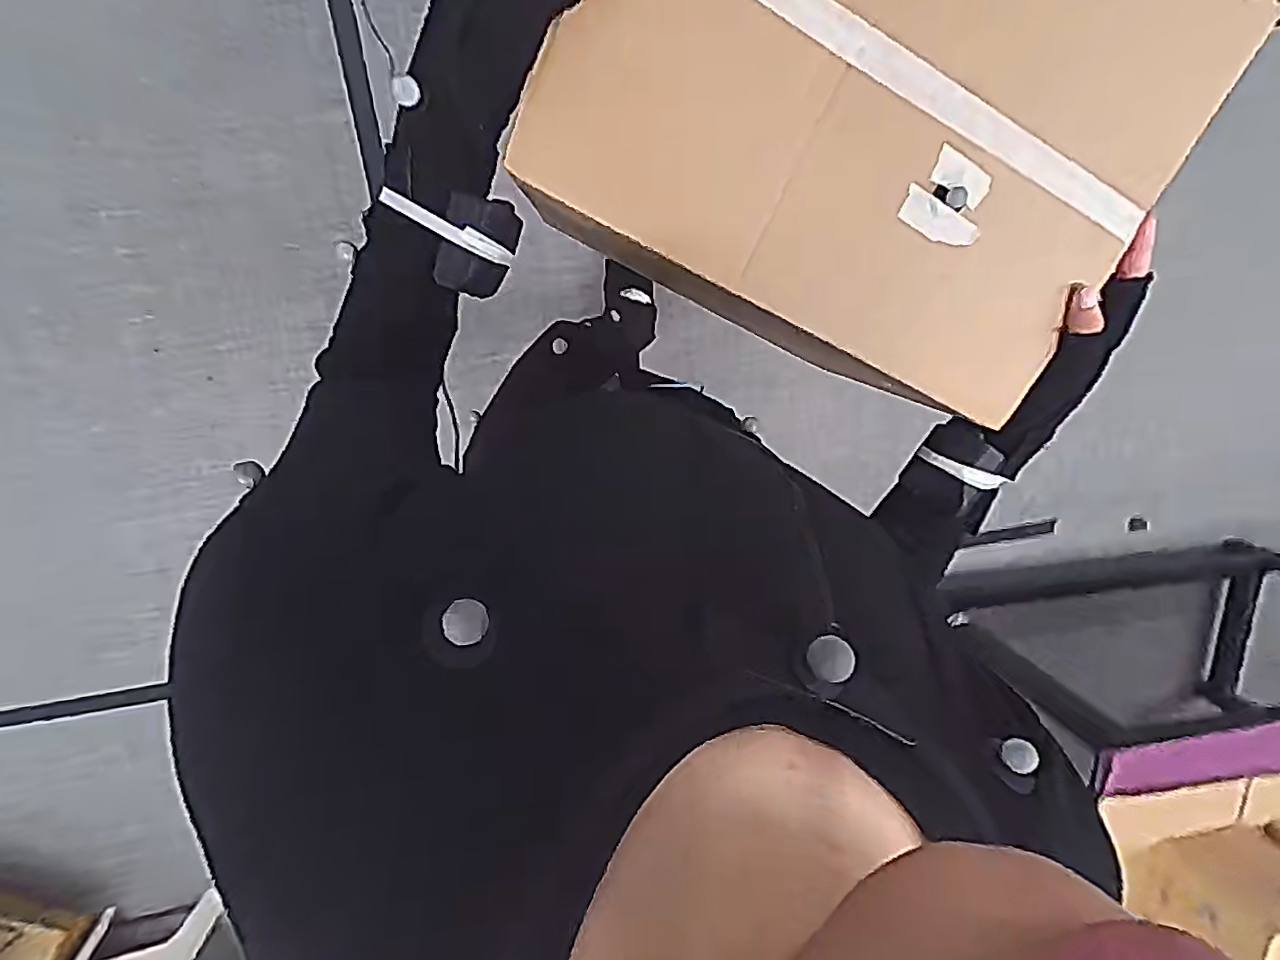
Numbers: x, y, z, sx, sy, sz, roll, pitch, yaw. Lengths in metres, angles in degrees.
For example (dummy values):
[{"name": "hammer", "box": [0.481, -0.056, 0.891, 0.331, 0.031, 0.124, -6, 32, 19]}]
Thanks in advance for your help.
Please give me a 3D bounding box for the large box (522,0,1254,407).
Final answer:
[{"name": "large box", "box": [0.147, -0.310, 0.488, 0.408, 0.320, 0.320, 23, 107, -13]}]
